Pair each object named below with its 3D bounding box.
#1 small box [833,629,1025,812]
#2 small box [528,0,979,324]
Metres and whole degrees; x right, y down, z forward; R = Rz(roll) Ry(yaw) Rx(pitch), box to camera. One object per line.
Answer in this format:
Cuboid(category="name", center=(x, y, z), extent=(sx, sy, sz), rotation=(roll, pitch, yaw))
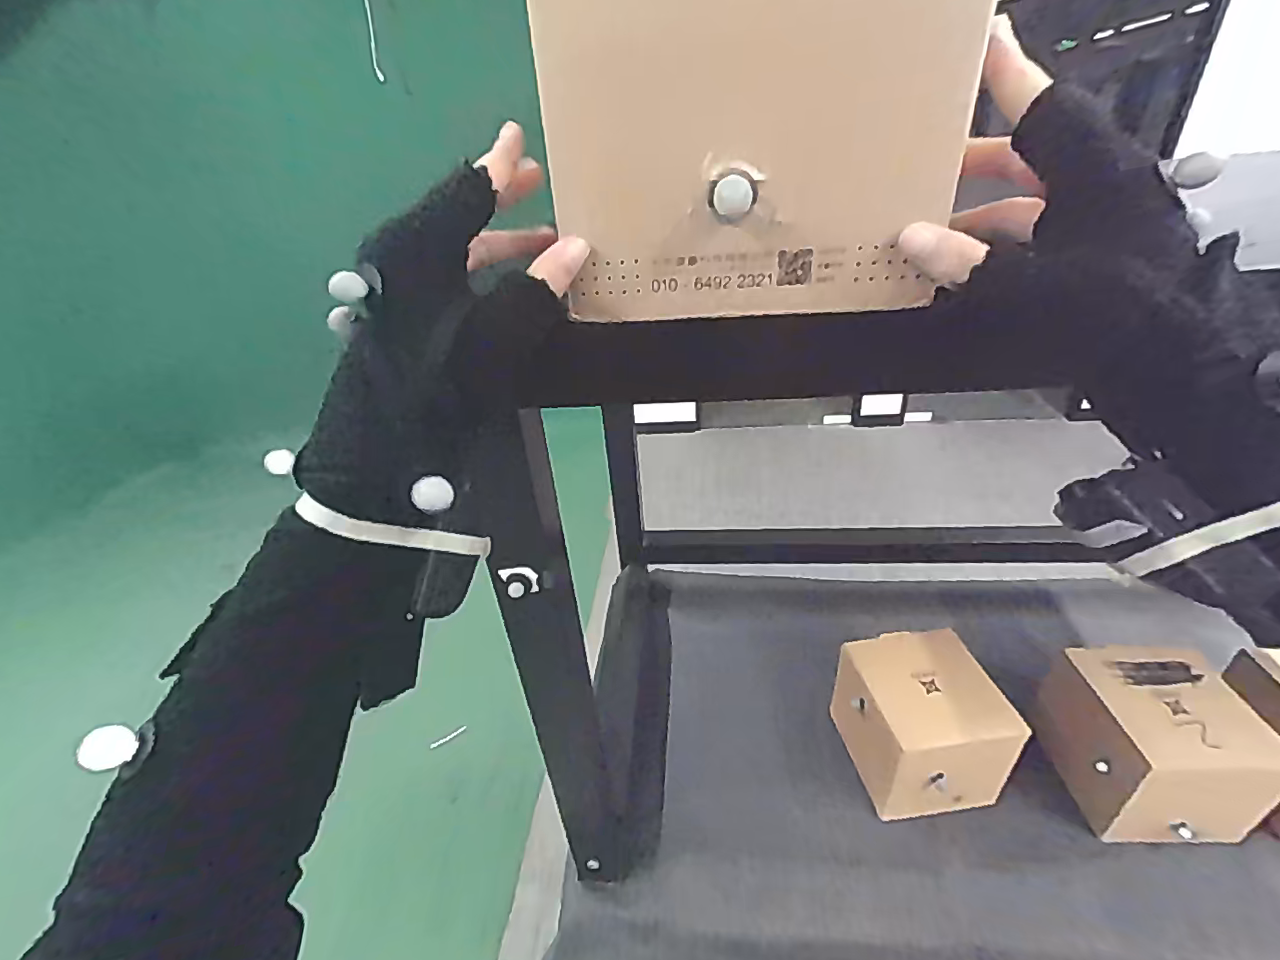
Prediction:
Cuboid(category="small box", center=(0.391, 0.343, 0.769), extent=(0.168, 0.176, 0.179), rotation=(-7, 31, -3))
Cuboid(category="small box", center=(0.047, -0.187, 0.280), extent=(0.168, 0.176, 0.179), rotation=(0, 32, 8))
